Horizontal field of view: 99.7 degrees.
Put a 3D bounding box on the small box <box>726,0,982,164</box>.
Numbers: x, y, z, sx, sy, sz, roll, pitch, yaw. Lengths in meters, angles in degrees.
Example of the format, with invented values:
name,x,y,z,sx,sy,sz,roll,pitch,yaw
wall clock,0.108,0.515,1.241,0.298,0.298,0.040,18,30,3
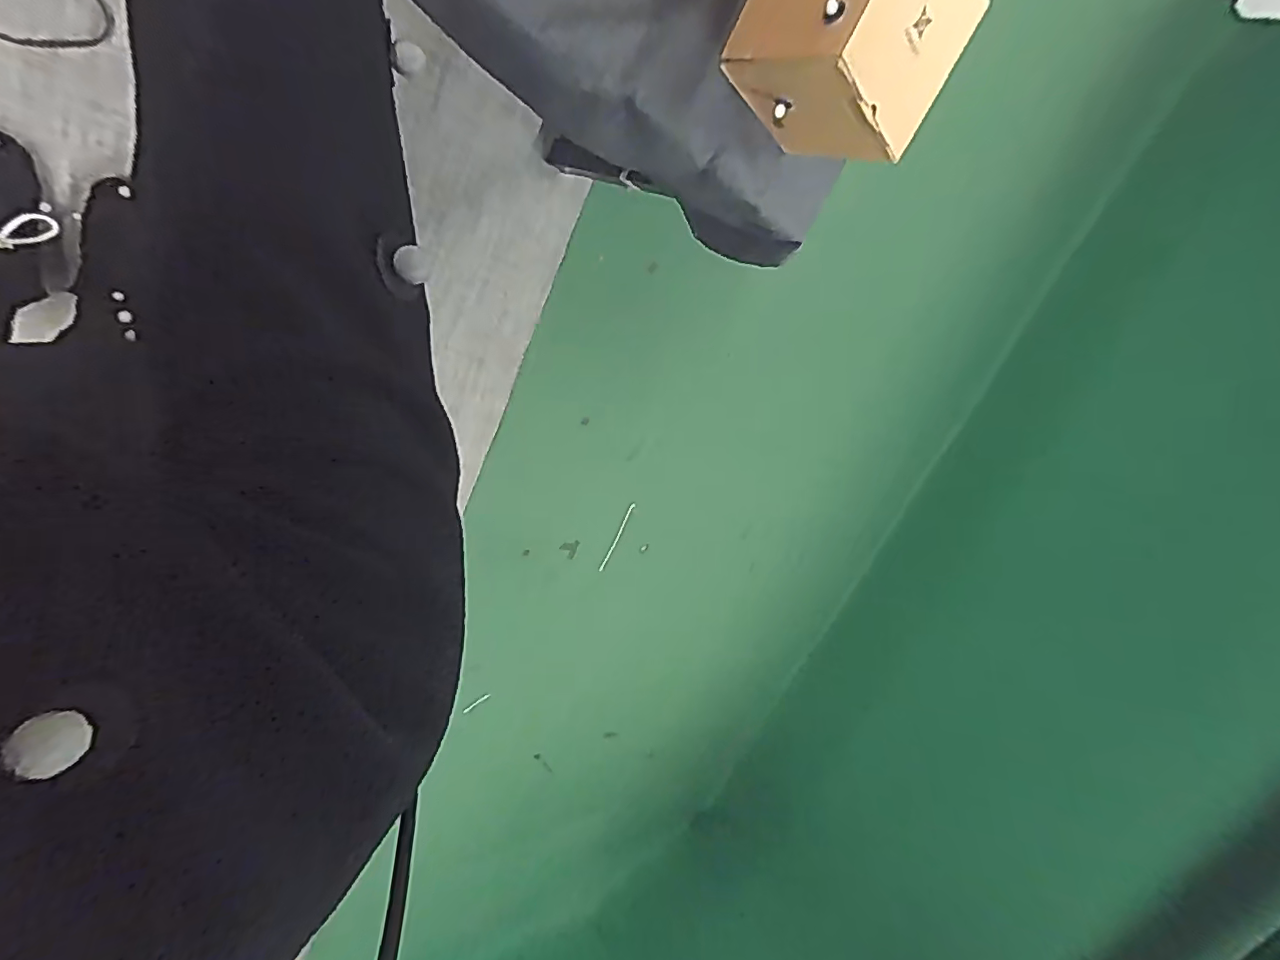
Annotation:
name,x,y,z,sx,sy,sz,roll,pitch,yaw
small box,0.225,-0.485,0.588,0.168,0.176,0.179,14,110,-47
